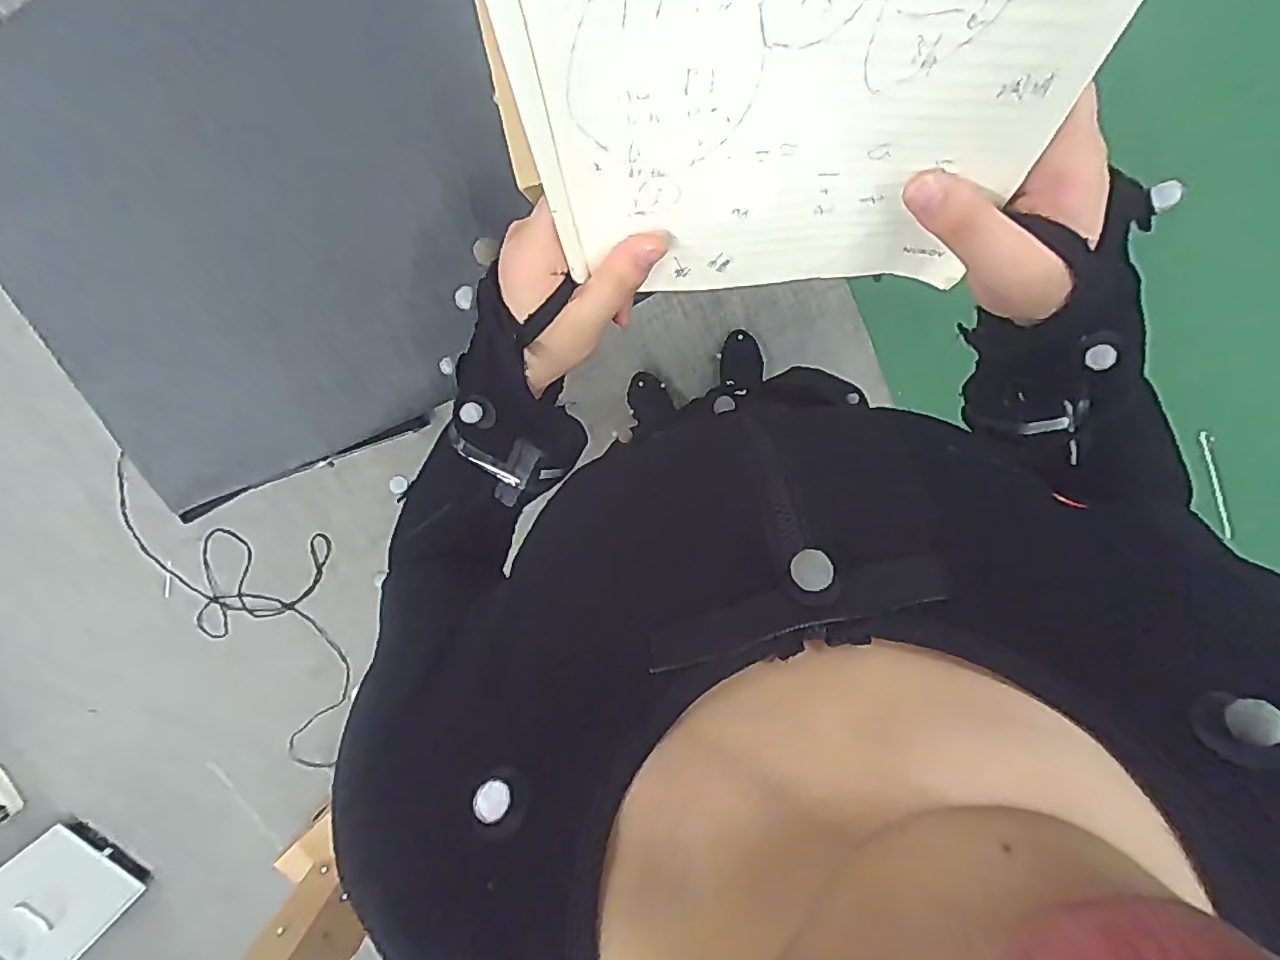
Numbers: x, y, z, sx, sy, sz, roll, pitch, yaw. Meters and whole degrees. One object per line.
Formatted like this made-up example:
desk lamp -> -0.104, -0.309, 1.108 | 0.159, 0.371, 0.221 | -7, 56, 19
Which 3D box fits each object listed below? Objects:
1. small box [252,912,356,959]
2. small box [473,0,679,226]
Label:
small box -> -0.851, 1.222, 1.333 | 0.179, 0.176, 0.168 | -23, 102, 12
small box -> -0.053, -0.398, 0.581 | 0.168, 0.176, 0.179 | -10, 103, 8
